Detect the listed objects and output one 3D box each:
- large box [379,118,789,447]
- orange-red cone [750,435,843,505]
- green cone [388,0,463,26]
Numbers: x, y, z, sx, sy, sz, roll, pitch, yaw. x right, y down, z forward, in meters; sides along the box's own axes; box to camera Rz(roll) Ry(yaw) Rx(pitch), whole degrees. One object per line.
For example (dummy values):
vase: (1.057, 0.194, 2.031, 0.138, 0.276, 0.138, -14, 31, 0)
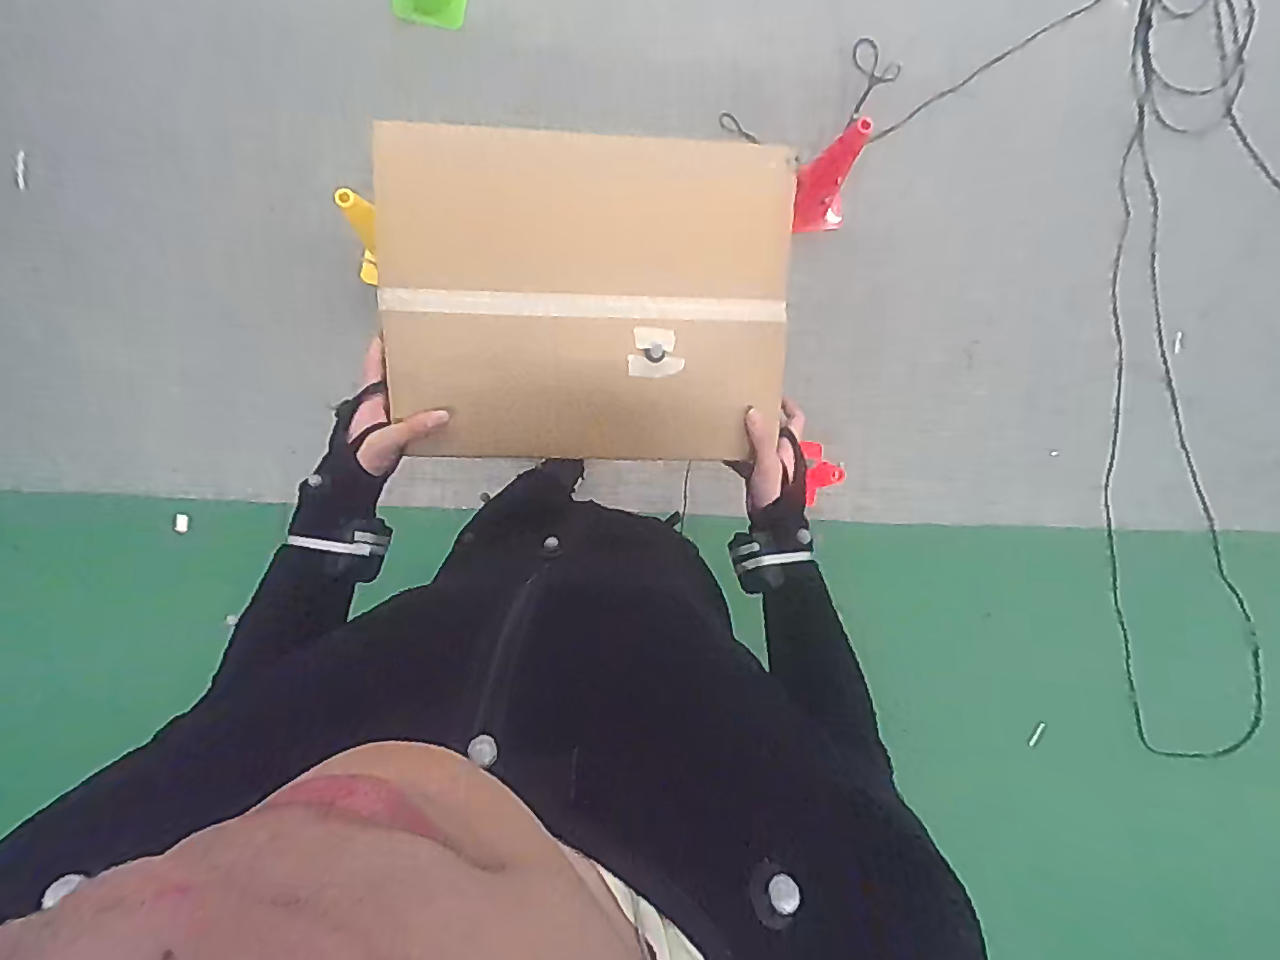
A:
large box: (-0.064, -0.217, 0.695, 0.408, 0.320, 0.320, 0, 102, -5)
orange-red cone: (0.463, -0.021, 1.491, 0.199, 0.360, 0.198, 10, 93, -7)
green cone: (-0.582, -1.383, 1.345, 0.200, 0.368, 0.202, 8, 93, -5)
